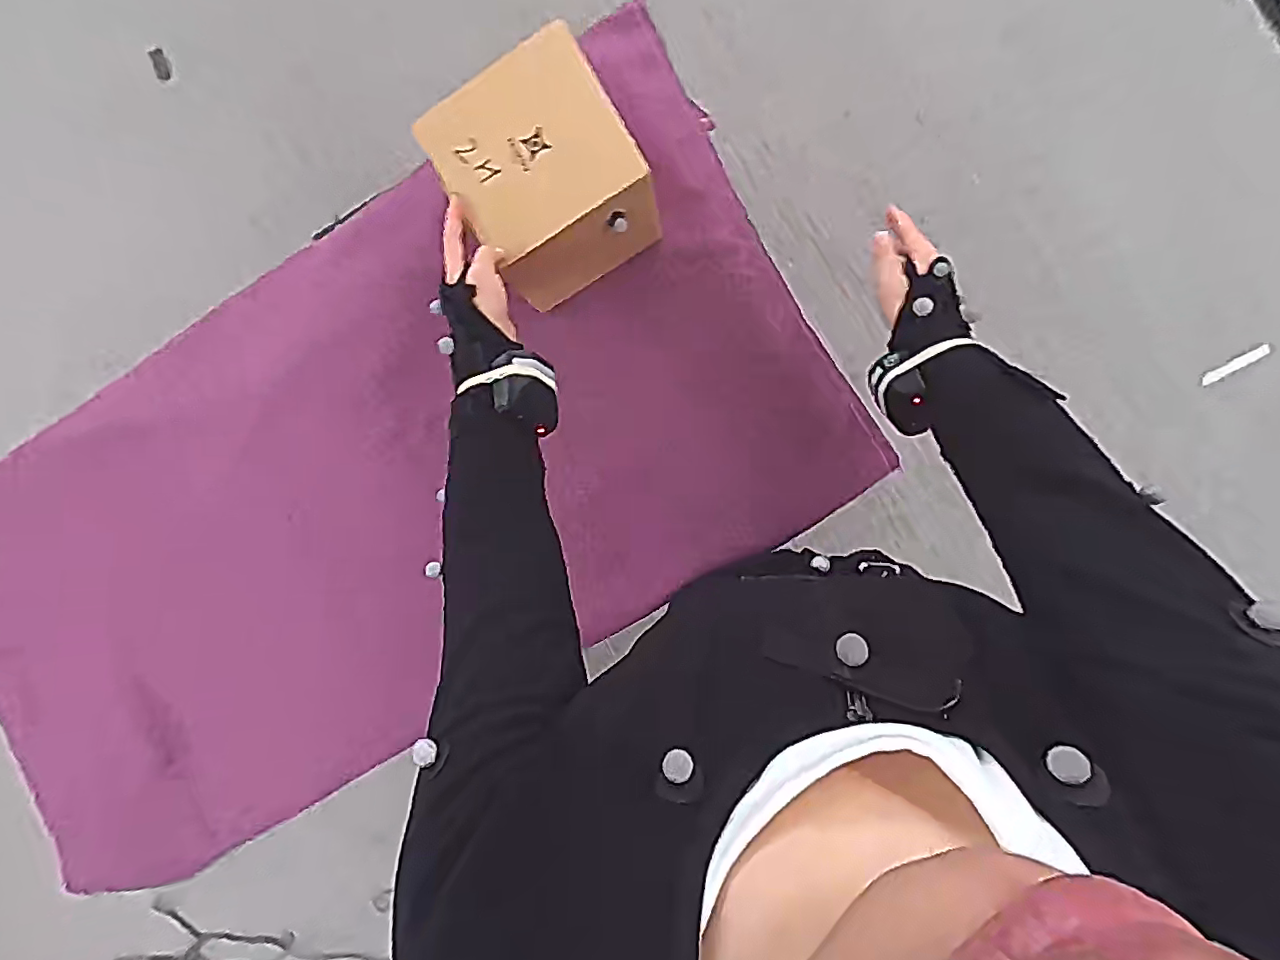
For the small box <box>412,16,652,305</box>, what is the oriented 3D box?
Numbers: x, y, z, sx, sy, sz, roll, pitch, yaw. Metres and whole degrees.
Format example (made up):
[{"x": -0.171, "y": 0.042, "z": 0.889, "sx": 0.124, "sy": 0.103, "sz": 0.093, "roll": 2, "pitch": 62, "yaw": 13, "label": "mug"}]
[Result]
[{"x": -0.097, "y": -0.319, "z": 0.583, "sx": 0.179, "sy": 0.176, "sz": 0.168, "roll": -30, "pitch": 90, "yaw": 8, "label": "small box"}]
